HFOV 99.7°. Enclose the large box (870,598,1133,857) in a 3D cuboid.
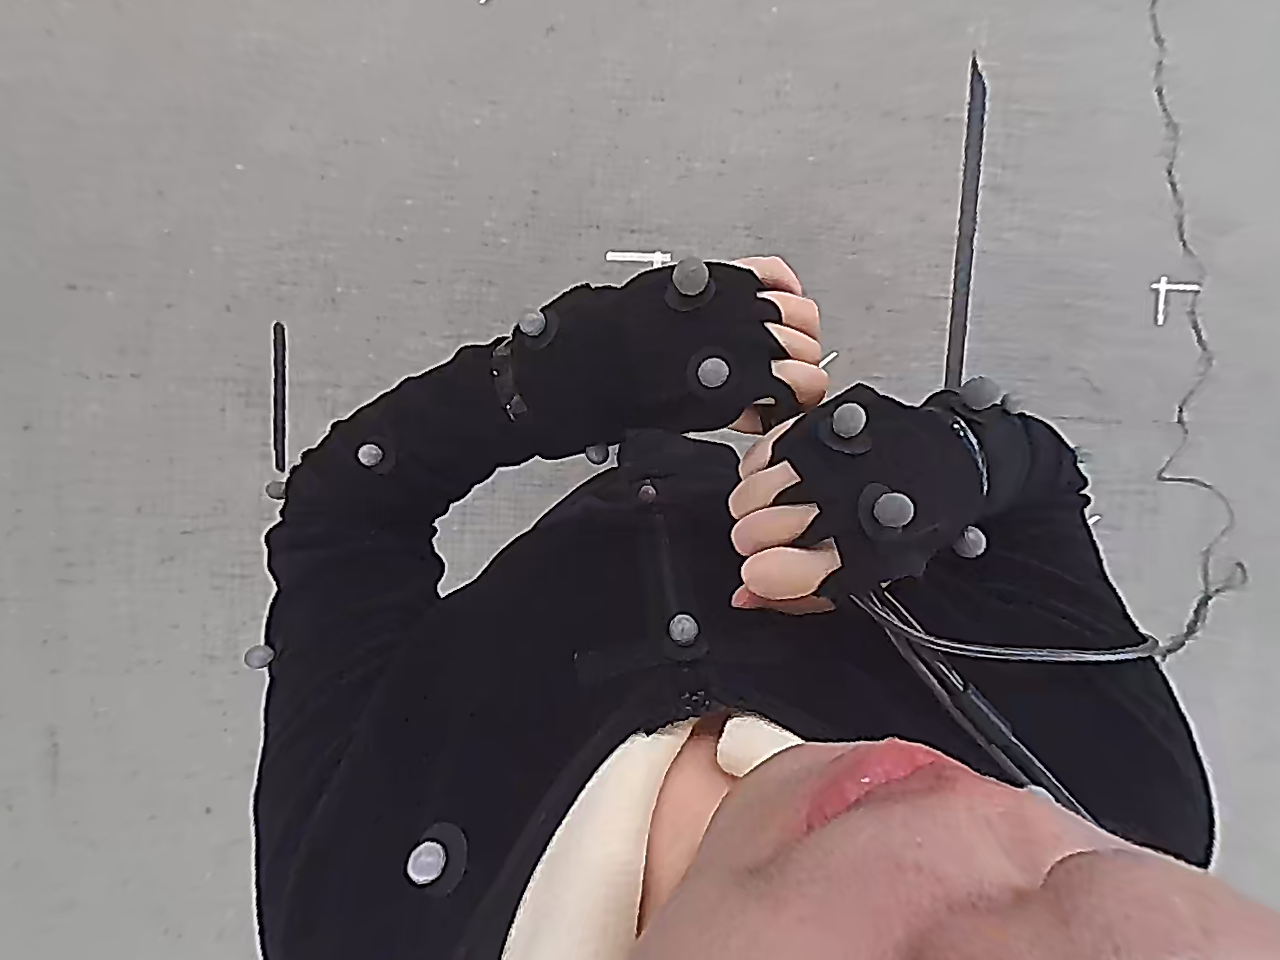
[{"bbox_3d":[0.786,0.528,1.230,0.320,0.320,0.408,17,92,-3],"label":"large box"}]
